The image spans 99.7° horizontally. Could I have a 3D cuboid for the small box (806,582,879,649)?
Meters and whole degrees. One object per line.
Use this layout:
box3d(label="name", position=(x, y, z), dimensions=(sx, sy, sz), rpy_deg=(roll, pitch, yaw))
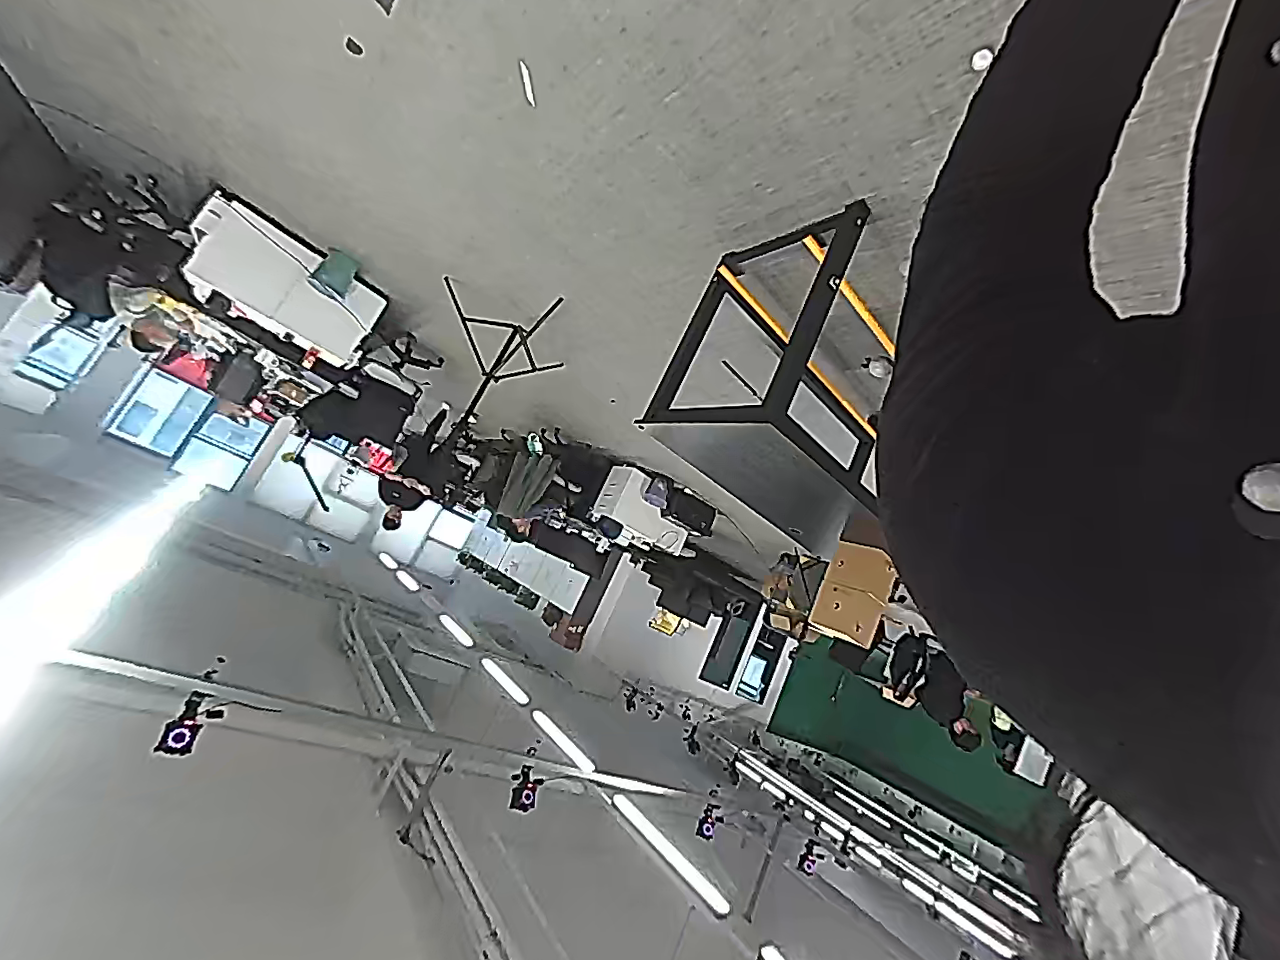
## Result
box3d(label="small box", position=(0.748, 0.492, 1.987), dimensions=(0.179, 0.176, 0.168), rpy_deg=(33, 167, -36))

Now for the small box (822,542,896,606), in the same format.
box3d(label="small box", position=(0.818, 0.345, 2.012), dimensions=(0.168, 0.176, 0.179), rpy_deg=(33, 165, -36))
